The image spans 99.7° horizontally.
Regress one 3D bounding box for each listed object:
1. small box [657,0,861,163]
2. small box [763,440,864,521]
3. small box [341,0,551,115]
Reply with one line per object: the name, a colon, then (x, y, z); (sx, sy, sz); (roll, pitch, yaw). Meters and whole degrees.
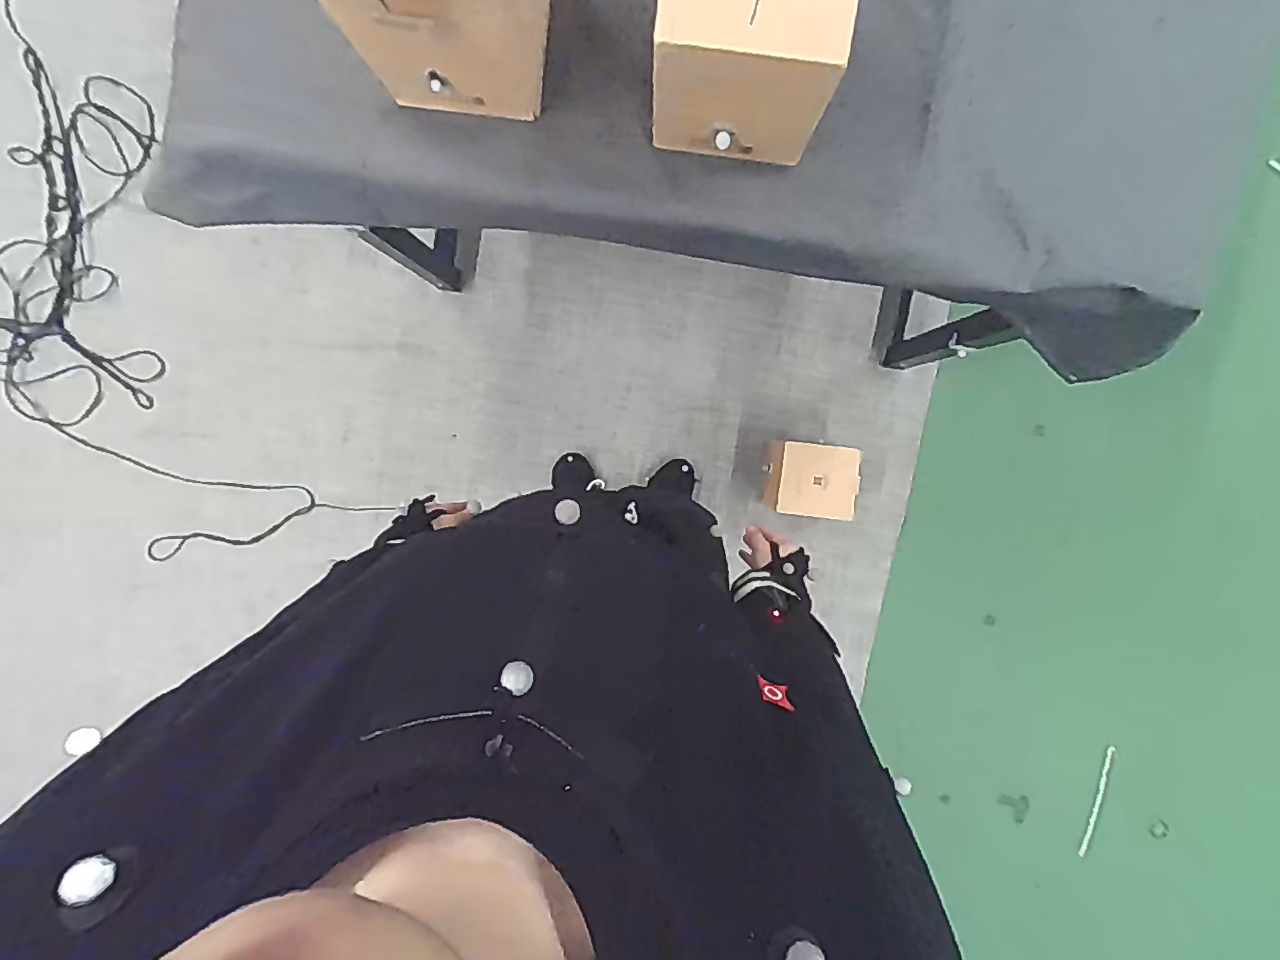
small box: (0.109, -0.447, 0.522); (0.168, 0.176, 0.179); (9, 95, 1)
small box: (0.404, -0.006, 1.284); (0.179, 0.176, 0.168); (7, 94, 2)
small box: (-0.185, -0.503, 0.528); (0.168, 0.176, 0.179); (7, 95, 1)
